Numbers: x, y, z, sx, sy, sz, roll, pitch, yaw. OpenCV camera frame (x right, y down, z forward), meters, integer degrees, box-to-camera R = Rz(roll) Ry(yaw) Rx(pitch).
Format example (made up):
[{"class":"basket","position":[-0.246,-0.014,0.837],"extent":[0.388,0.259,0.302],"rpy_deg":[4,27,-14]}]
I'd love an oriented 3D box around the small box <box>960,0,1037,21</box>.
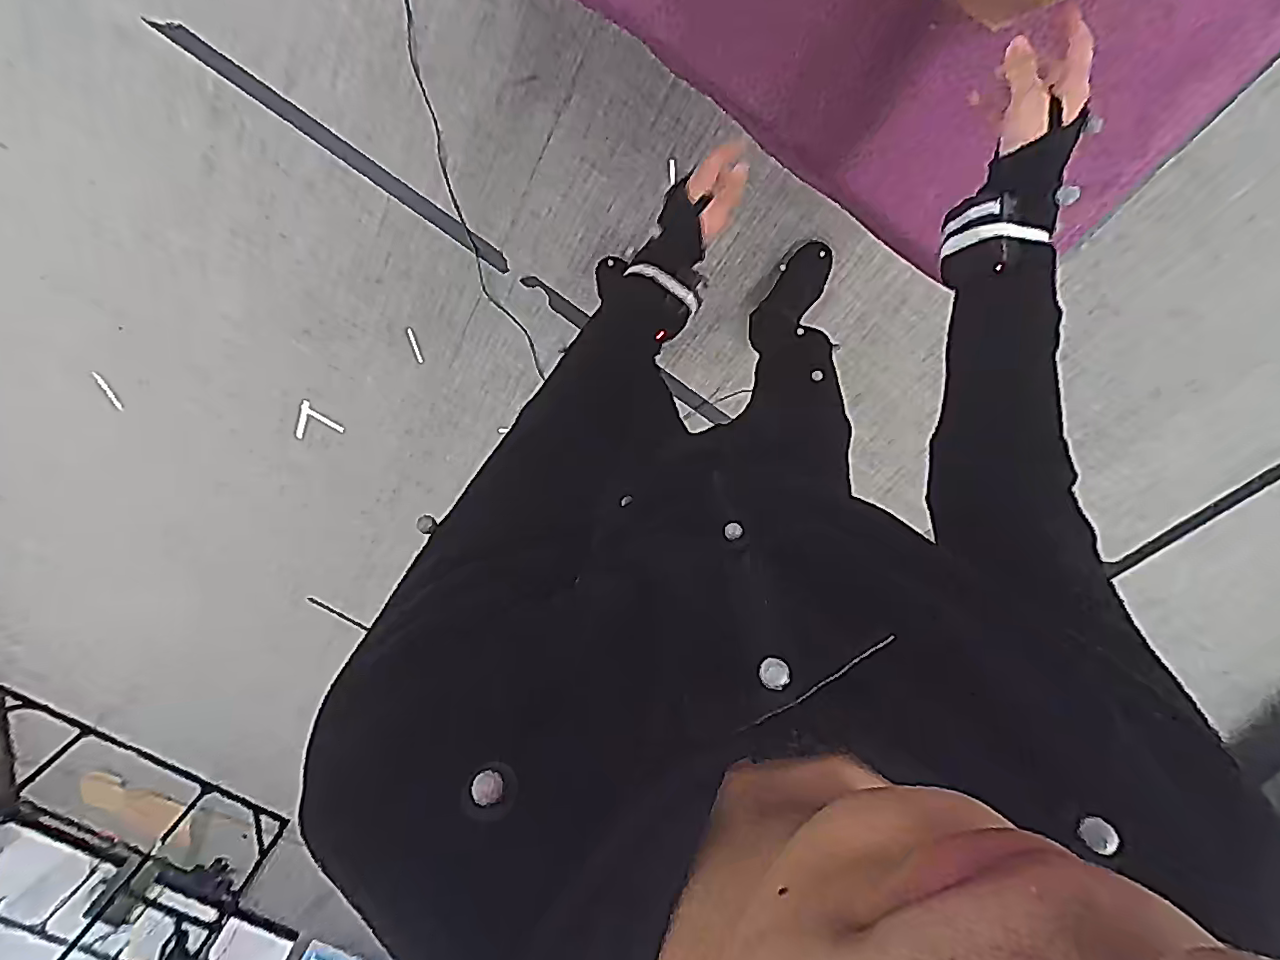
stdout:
[{"class":"small box","position":[0.312,-0.512,0.425],"extent":[0.168,0.176,0.179],"rpy_deg":[27,122,-6]}]
